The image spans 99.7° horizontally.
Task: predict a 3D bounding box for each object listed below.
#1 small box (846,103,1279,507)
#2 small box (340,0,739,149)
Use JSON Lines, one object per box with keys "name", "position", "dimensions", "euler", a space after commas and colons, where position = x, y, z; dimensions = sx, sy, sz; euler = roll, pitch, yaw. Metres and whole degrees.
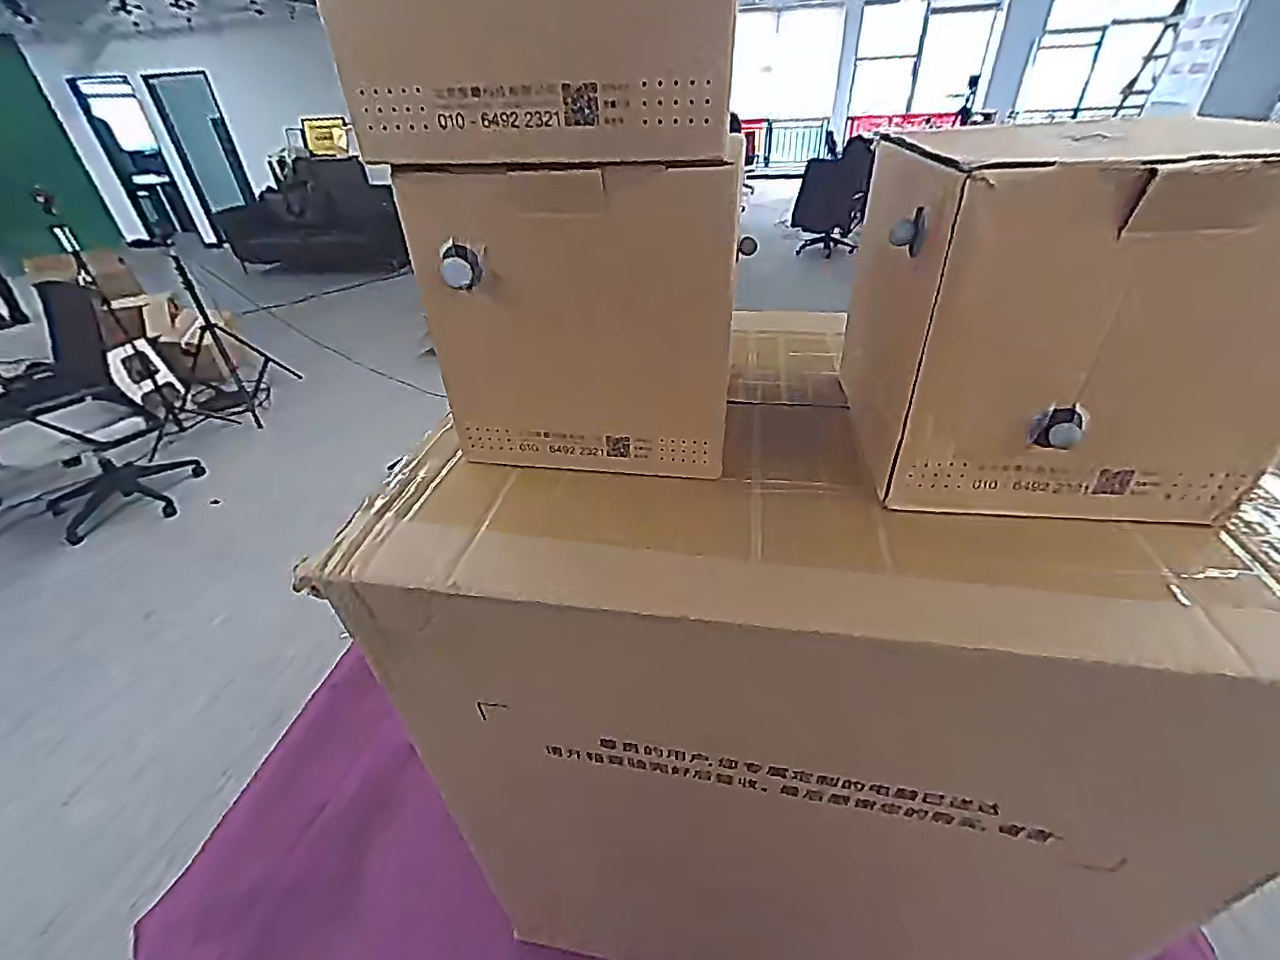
{"name": "small box", "position": [0.224, -0.105, 0.306], "dimensions": [0.168, 0.176, 0.179], "euler": [2, 36, 9]}
{"name": "small box", "position": [-0.035, -0.259, 0.256], "dimensions": [0.168, 0.176, 0.179], "euler": [3, 35, 6]}
